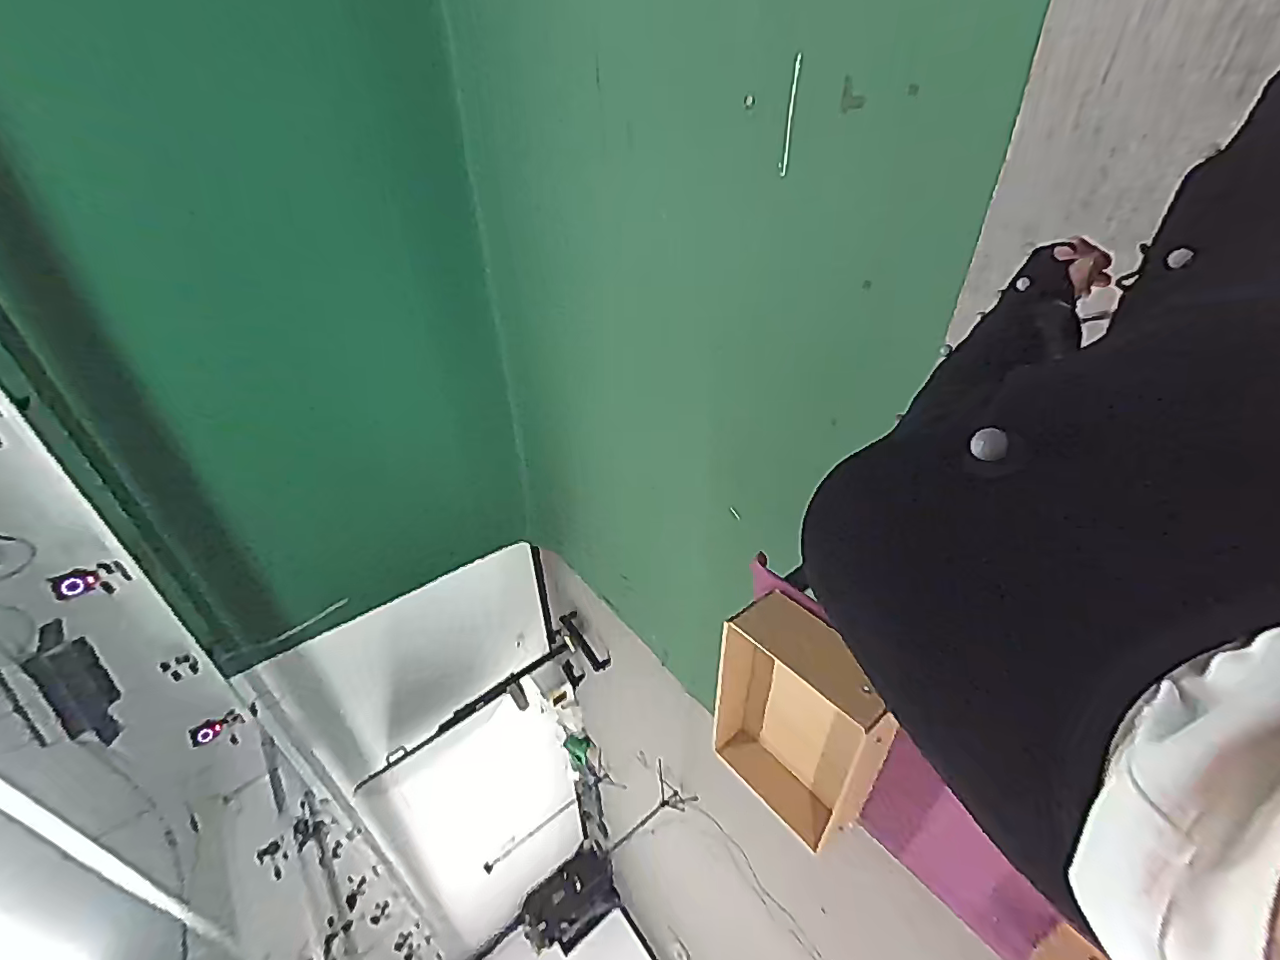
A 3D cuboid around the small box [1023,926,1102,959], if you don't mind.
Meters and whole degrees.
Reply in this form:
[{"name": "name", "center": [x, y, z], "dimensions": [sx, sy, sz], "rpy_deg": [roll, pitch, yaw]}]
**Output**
[{"name": "small box", "center": [0.855, 1.041, 1.067], "dimensions": [0.168, 0.176, 0.179], "rpy_deg": [33, 138, 41]}]
